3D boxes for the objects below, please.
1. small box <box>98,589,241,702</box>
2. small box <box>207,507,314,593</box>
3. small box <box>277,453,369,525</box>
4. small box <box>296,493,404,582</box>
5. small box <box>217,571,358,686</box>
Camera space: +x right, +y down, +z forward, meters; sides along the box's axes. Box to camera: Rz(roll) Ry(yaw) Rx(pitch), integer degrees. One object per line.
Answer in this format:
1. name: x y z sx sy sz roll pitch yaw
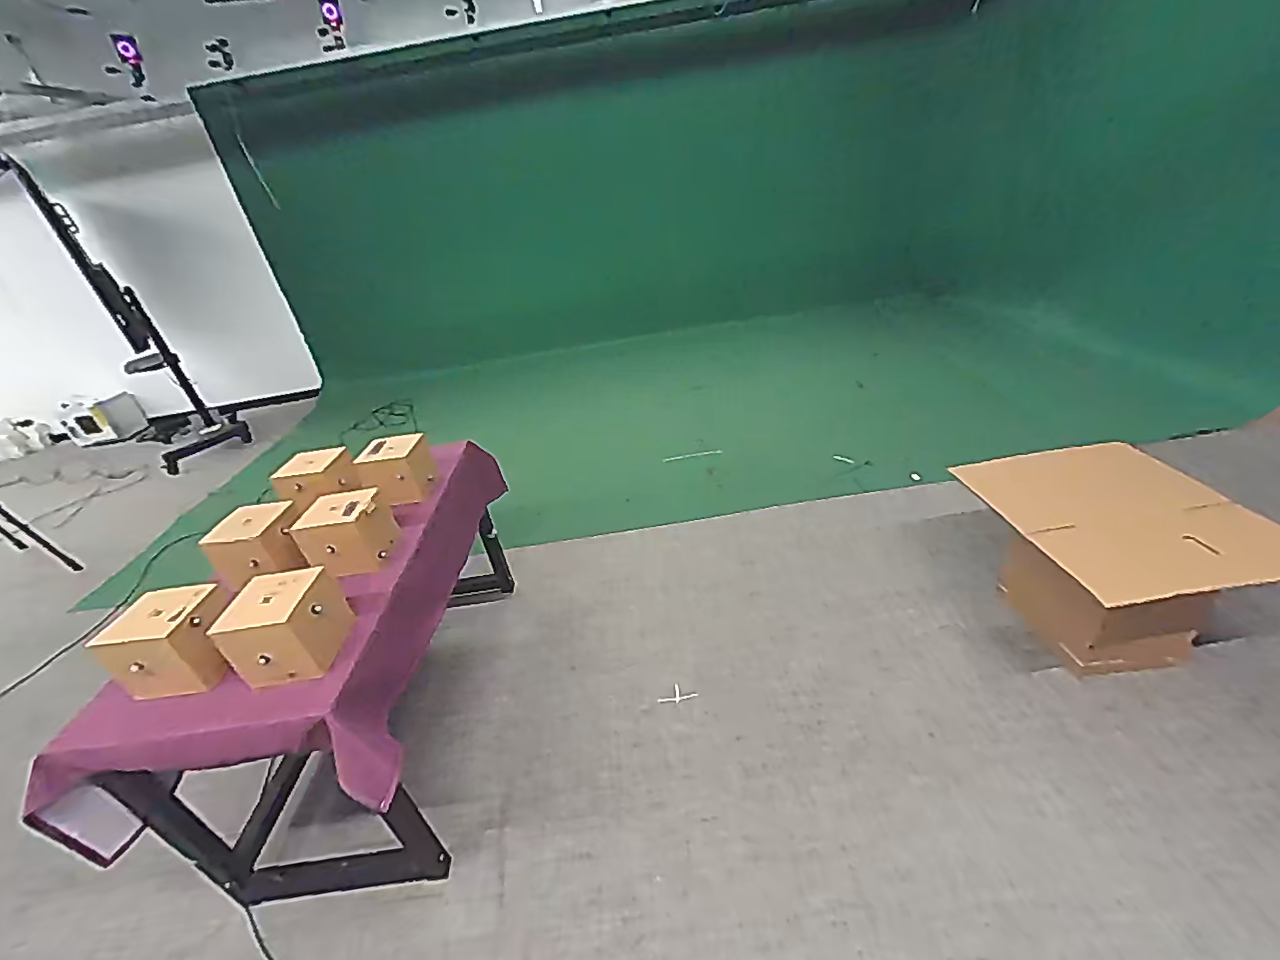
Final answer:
1. small box: -1.009 0.370 1.202 0.179 0.176 0.168 -9 30 4
2. small box: -1.028 0.198 1.502 0.168 0.176 0.179 -7 30 5
3. small box: -1.034 0.032 1.785 0.179 0.176 0.168 -8 31 6
4. small box: -0.782 0.159 1.483 0.179 0.176 0.168 -10 30 5
5. small box: -0.755 0.330 1.184 0.168 0.176 0.179 -10 30 3
